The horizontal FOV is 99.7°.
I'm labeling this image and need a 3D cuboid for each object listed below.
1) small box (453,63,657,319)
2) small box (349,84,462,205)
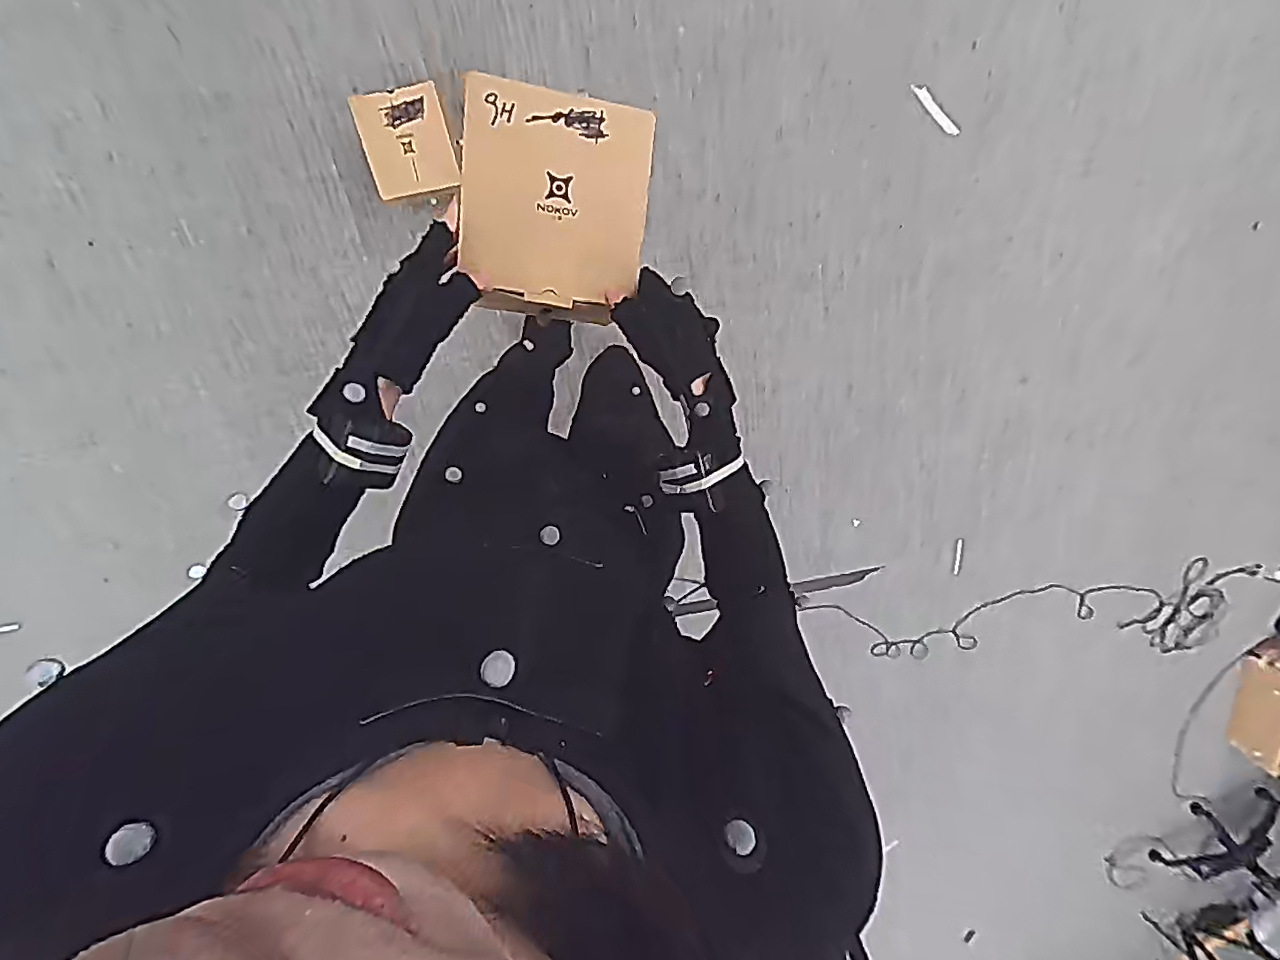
[{"bbox_3d":[-0.090,-0.269,0.554,0.168,0.176,0.179,5,100,-13],"label":"small box"},{"bbox_3d":[-0.456,-0.674,1.104,0.168,0.176,0.179,-12,116,-2],"label":"small box"}]
